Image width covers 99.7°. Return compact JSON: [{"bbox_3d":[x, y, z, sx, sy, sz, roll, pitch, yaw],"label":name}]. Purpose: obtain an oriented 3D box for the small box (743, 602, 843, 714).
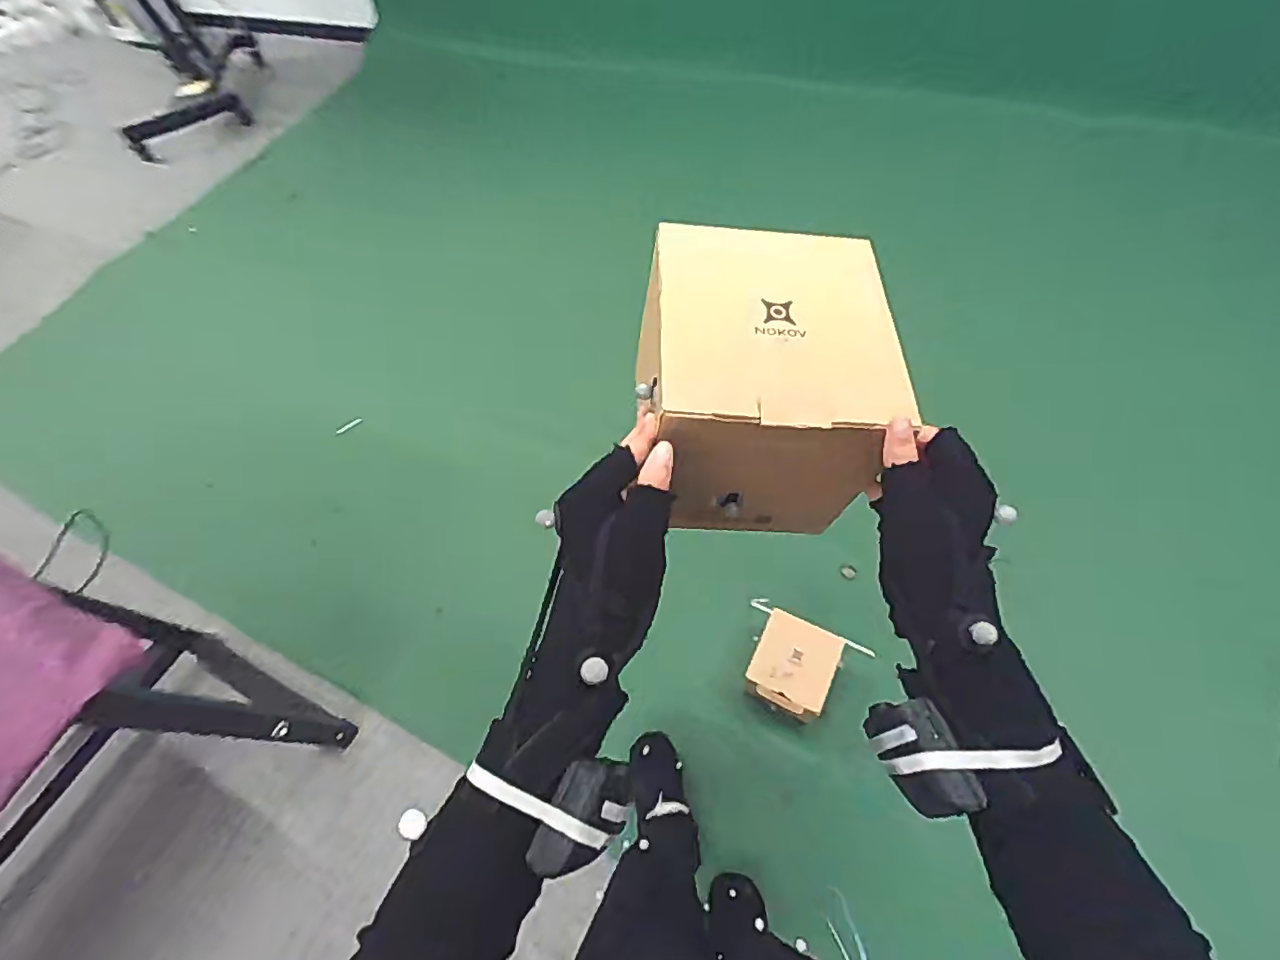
[{"bbox_3d":[0.345,0.415,1.250,0.168,0.176,0.179,23,67,19],"label":"small box"}]
